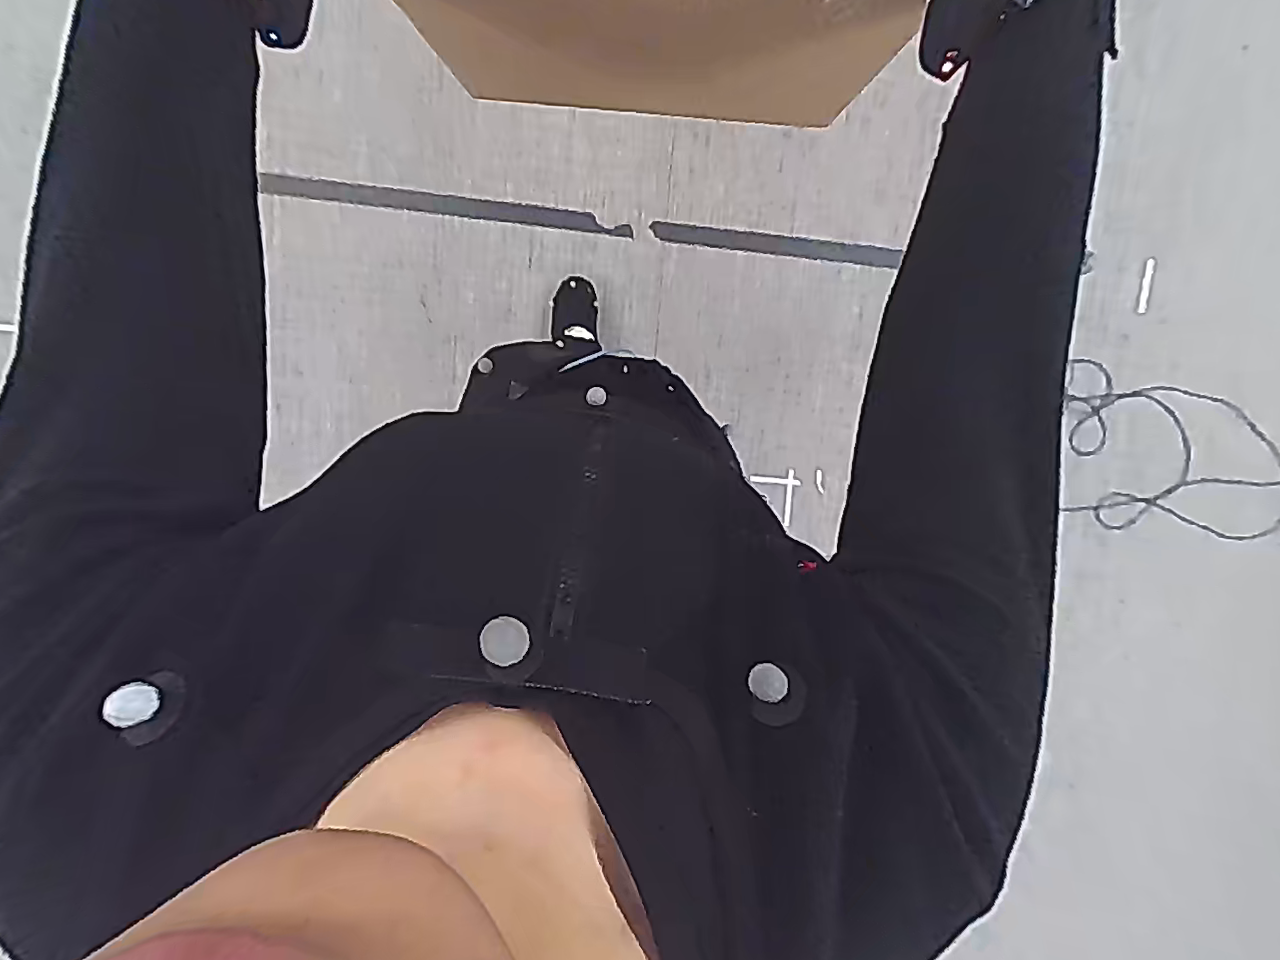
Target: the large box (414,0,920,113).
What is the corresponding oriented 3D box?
[{"bbox_3d":[0.020,-0.527,0.425,0.408,0.320,0.320,4,108,-1],"label":"large box"}]
